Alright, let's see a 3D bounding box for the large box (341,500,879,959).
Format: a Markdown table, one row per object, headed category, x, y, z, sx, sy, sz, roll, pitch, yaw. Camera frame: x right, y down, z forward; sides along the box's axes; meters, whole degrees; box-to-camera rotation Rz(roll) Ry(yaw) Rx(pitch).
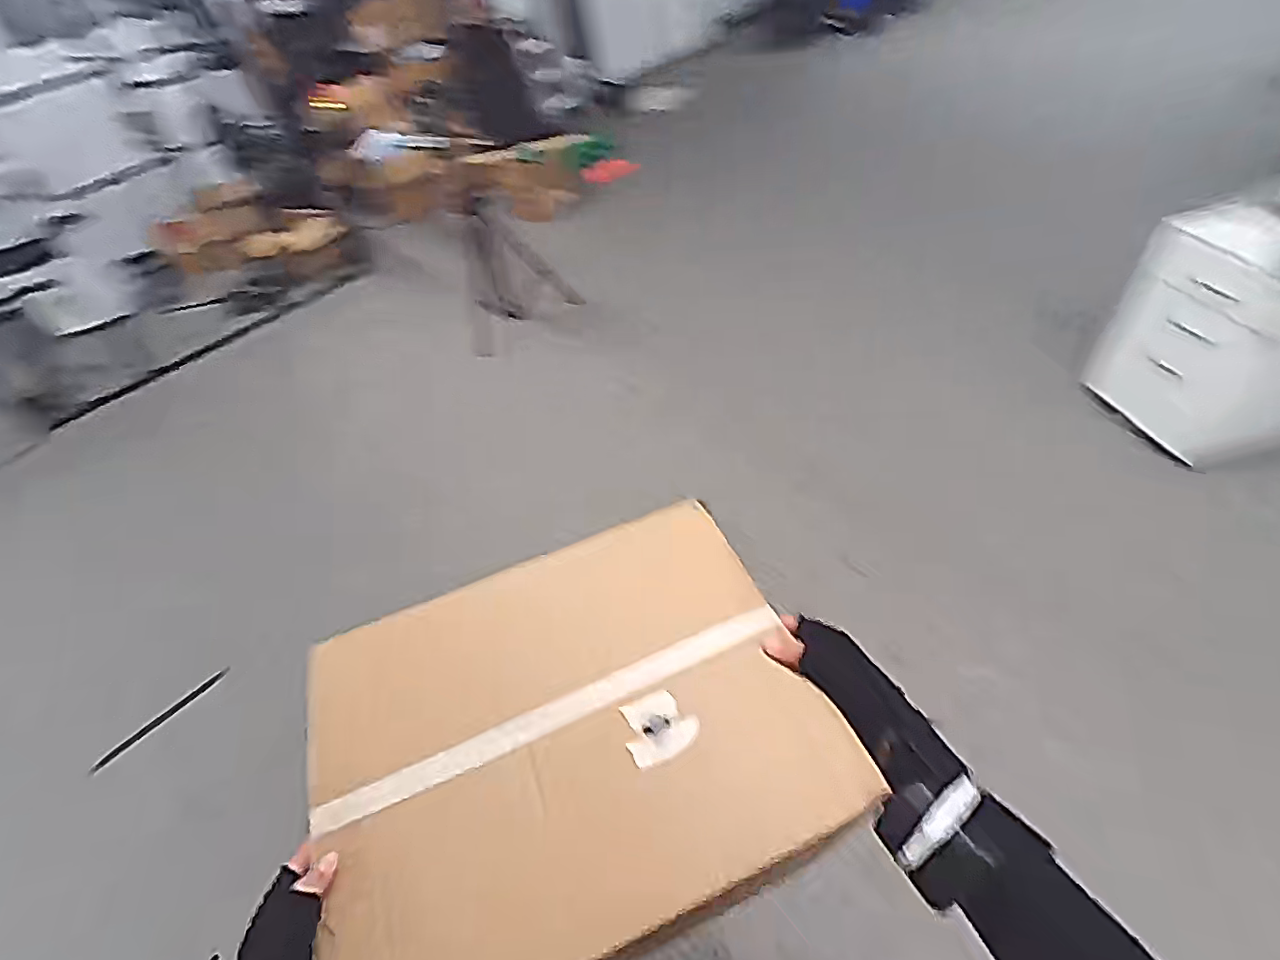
| category | x | y | z | sx | sy | sz | roll | pitch | yaw |
| --- | --- | --- | --- | --- | --- | --- | --- | --- | --- |
| large box | -0.041 | 0.288 | 0.578 | 0.408 | 0.320 | 0.320 | -19 | 51 | -11 |
